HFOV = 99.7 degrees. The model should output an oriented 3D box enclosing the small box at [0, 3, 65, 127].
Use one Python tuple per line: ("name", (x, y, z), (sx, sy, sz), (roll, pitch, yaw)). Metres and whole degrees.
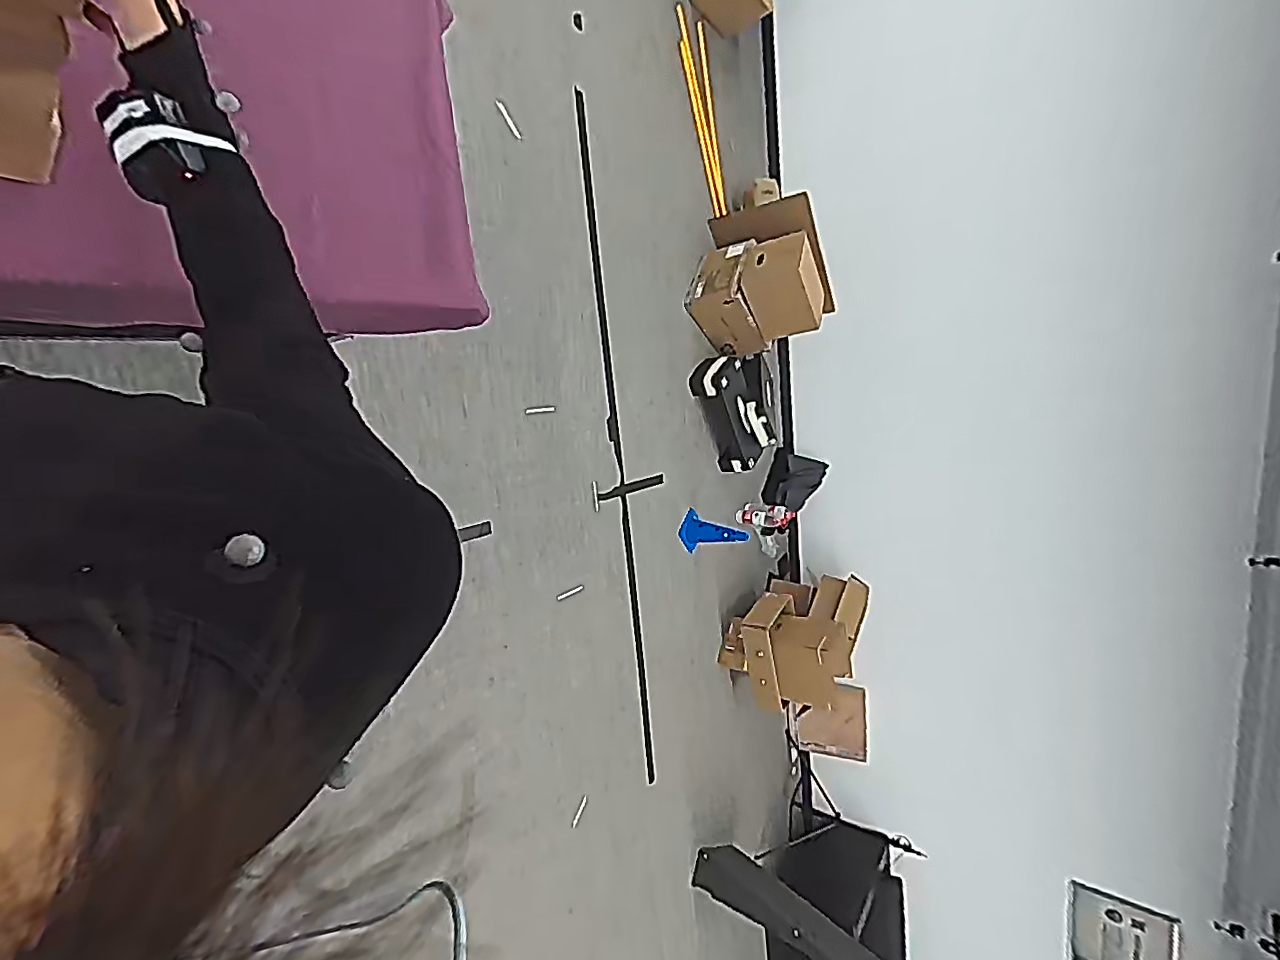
("small box", (-0.573, -0.400, 0.400), (0.179, 0.176, 0.168), (-14, 102, -51))
